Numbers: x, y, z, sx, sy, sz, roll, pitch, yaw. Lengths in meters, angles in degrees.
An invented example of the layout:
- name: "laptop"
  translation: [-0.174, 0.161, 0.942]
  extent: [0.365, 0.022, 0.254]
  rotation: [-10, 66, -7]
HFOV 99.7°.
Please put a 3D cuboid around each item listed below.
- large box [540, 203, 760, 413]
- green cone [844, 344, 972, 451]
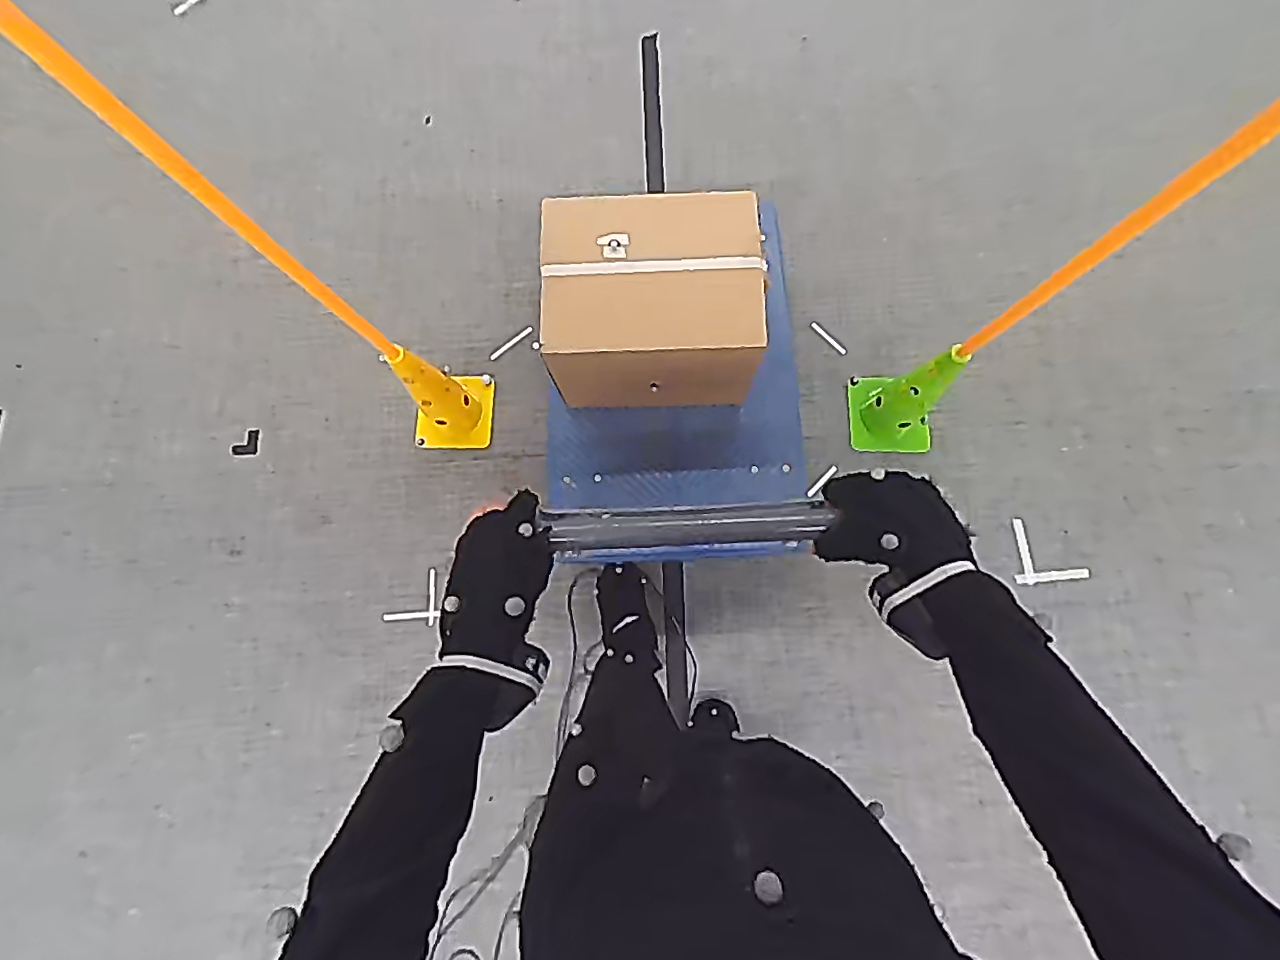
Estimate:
- name: "large box"
  translation: [0.020, -0.338, 1.145]
  extent: [0.408, 0.320, 0.320]
  rotation: [-2, 79, 3]
- name: "green cone"
  translation: [0.632, -0.209, 1.237]
  extent: [0.202, 0.368, 0.200]
  rotation: [1, 78, 1]
